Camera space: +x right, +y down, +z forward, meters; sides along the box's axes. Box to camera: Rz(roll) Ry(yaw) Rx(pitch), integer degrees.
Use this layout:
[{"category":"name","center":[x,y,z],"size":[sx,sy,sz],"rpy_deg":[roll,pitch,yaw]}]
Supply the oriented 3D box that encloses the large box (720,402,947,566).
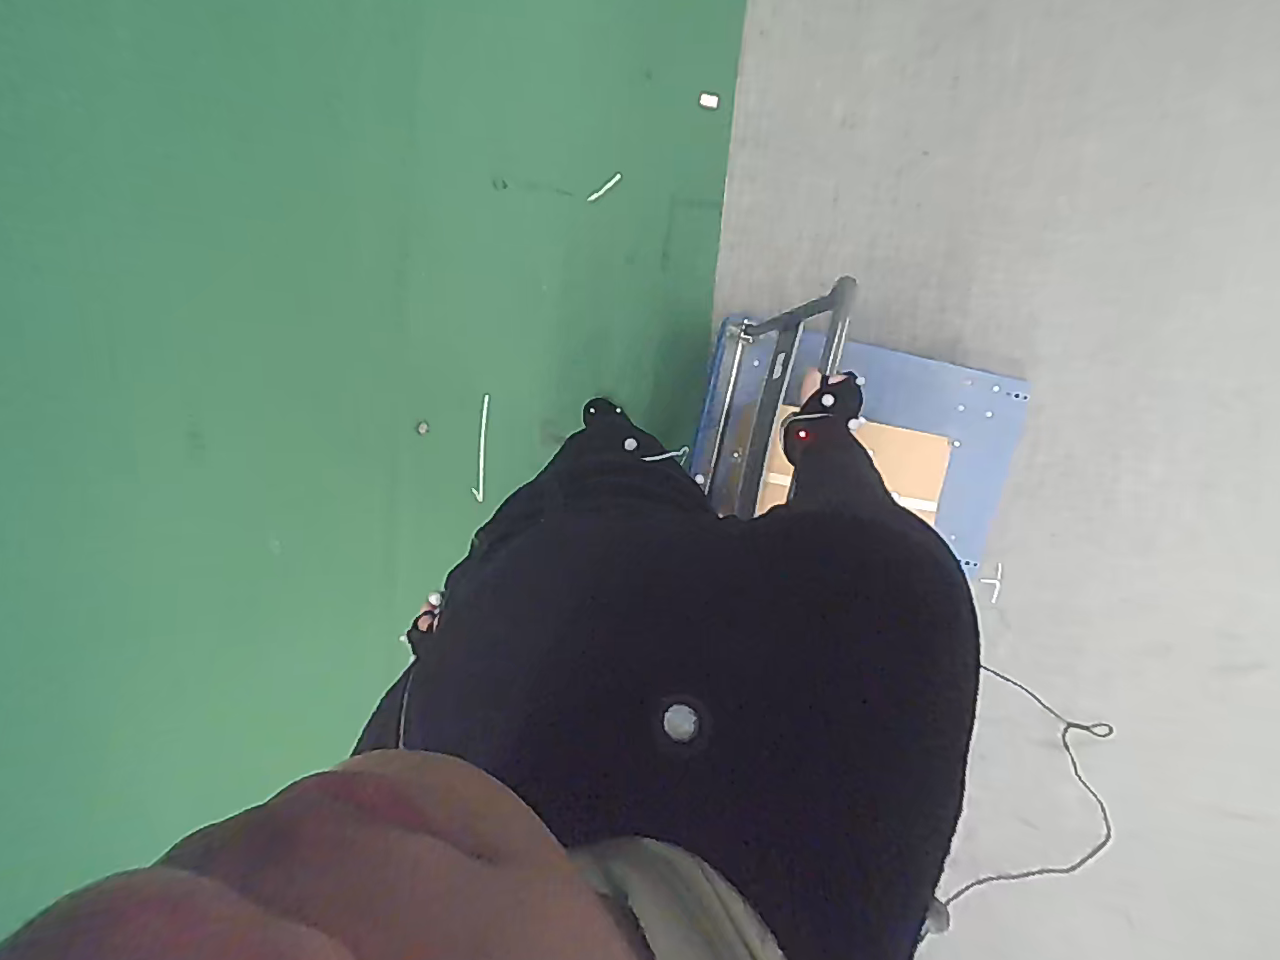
[{"category":"large box","center":[0.441,-0.006,1.327],"size":[0.408,0.320,0.320],"rpy_deg":[10,98,-5]}]
